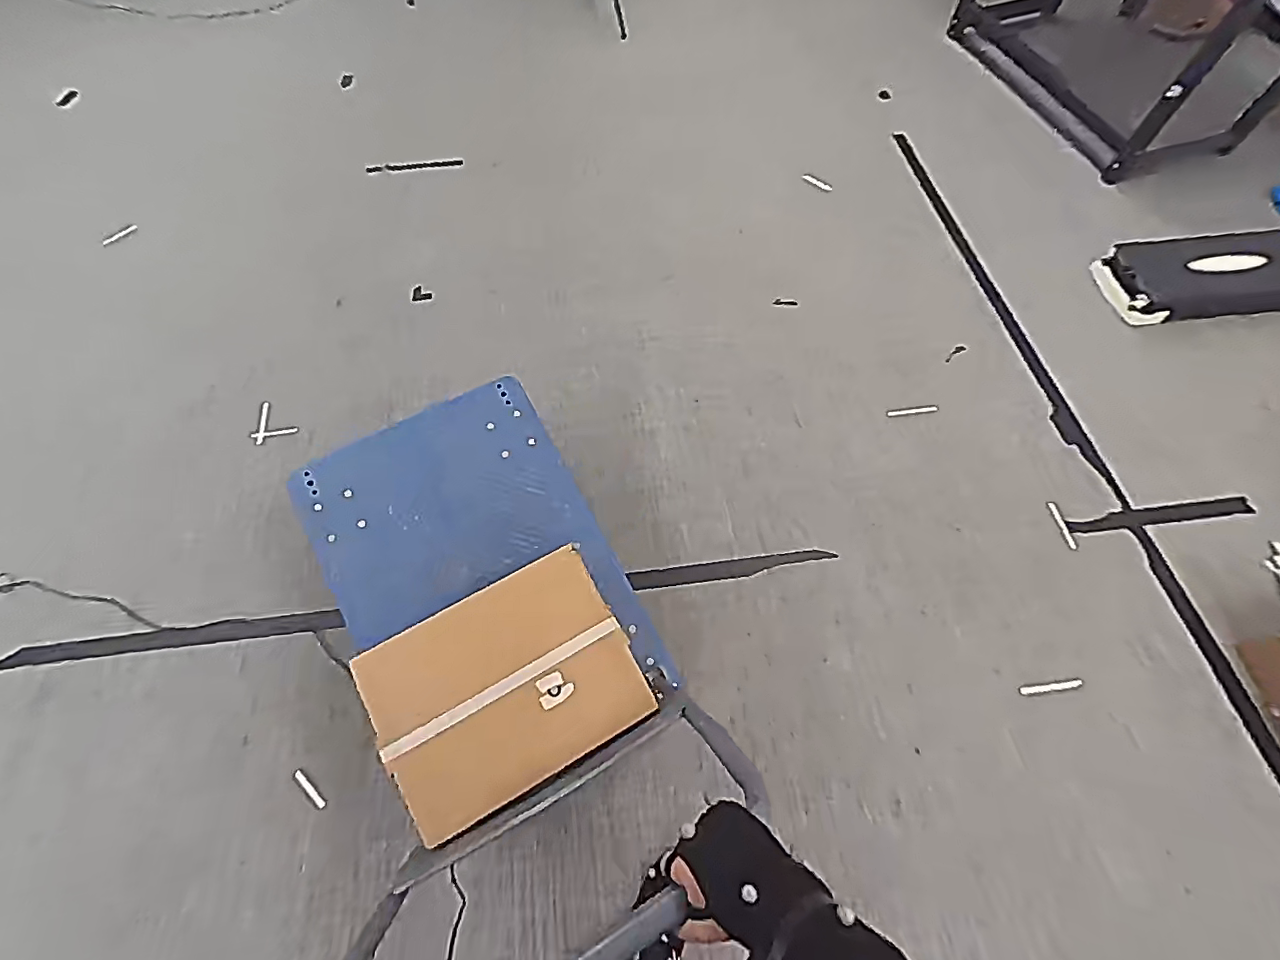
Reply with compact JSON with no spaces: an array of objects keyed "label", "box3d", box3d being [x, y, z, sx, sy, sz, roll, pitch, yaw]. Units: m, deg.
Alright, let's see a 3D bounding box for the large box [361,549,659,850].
[{"label":"large box","box3d":[-0.225,0.386,1.031,0.408,0.320,0.320,-29,79,-13]}]
